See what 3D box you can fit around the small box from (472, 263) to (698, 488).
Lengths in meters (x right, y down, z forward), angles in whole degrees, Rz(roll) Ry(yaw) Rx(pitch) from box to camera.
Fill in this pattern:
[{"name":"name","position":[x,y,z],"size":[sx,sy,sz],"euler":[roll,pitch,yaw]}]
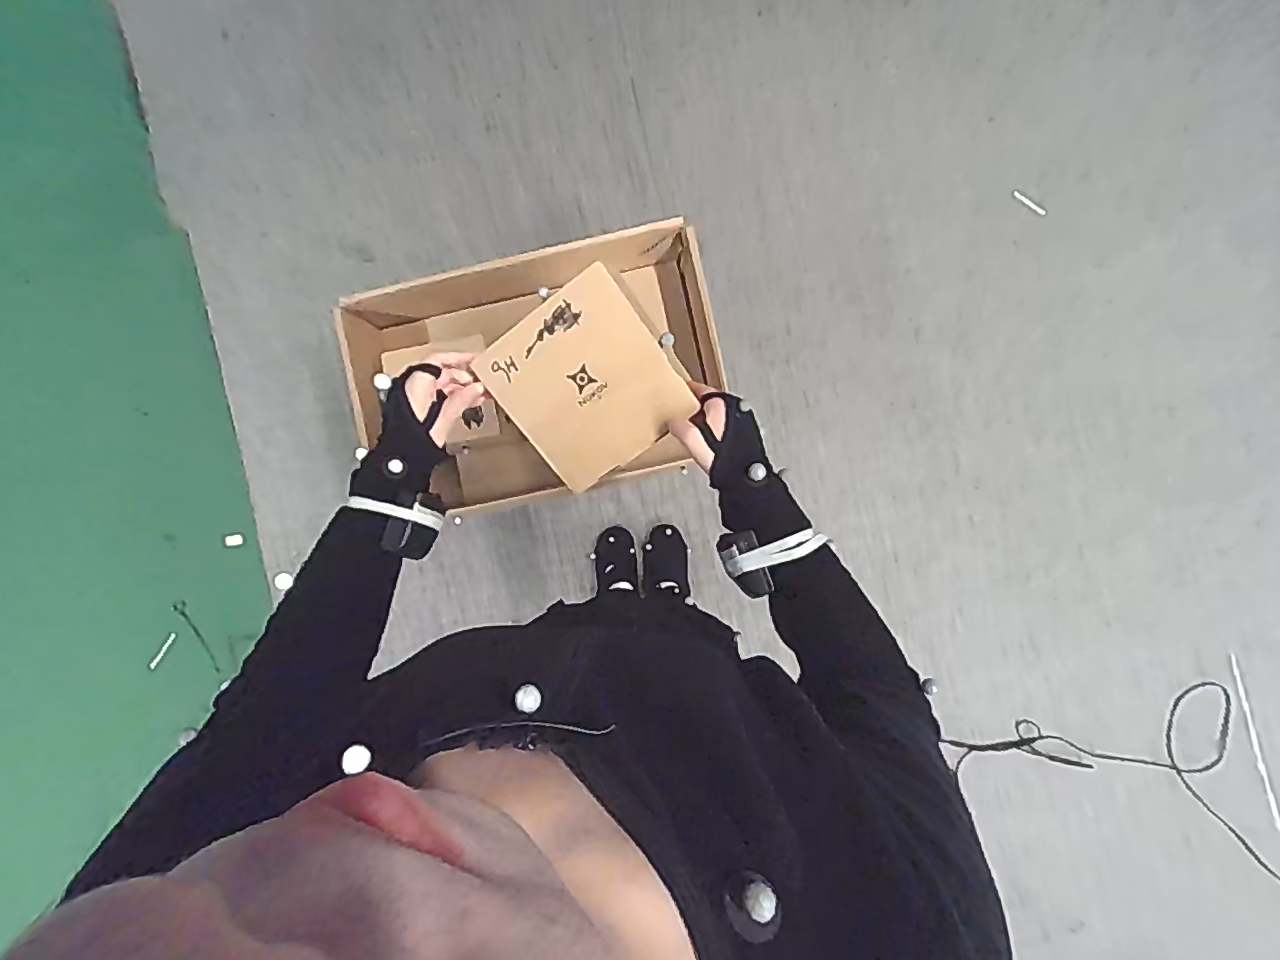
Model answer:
[{"name":"small box","position":[-0.050,-0.126,0.615],"size":[0.168,0.176,0.179],"euler":[-32,107,13]}]
